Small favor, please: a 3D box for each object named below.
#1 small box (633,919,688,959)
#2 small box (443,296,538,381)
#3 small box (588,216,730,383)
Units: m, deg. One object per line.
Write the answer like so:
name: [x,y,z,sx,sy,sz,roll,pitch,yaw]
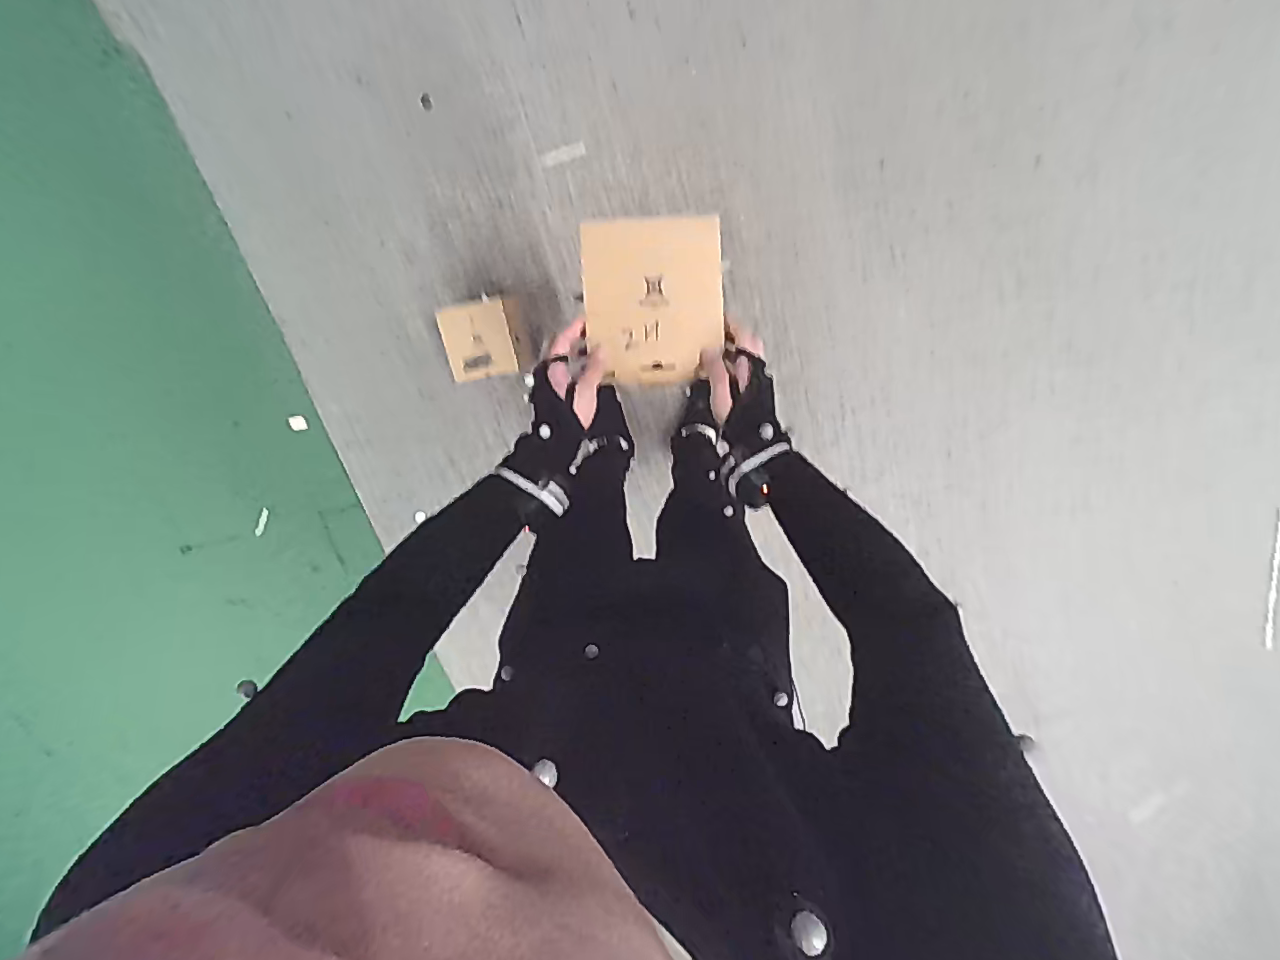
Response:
small box: [0.077,1.708,1.919,0.168,0.176,0.179,-13,108,8]
small box: [-0.369,-0.362,1.374,0.168,0.176,0.179,-9,109,6]
small box: [0.020,-0.224,0.711,0.168,0.176,0.179,-3,97,-1]
